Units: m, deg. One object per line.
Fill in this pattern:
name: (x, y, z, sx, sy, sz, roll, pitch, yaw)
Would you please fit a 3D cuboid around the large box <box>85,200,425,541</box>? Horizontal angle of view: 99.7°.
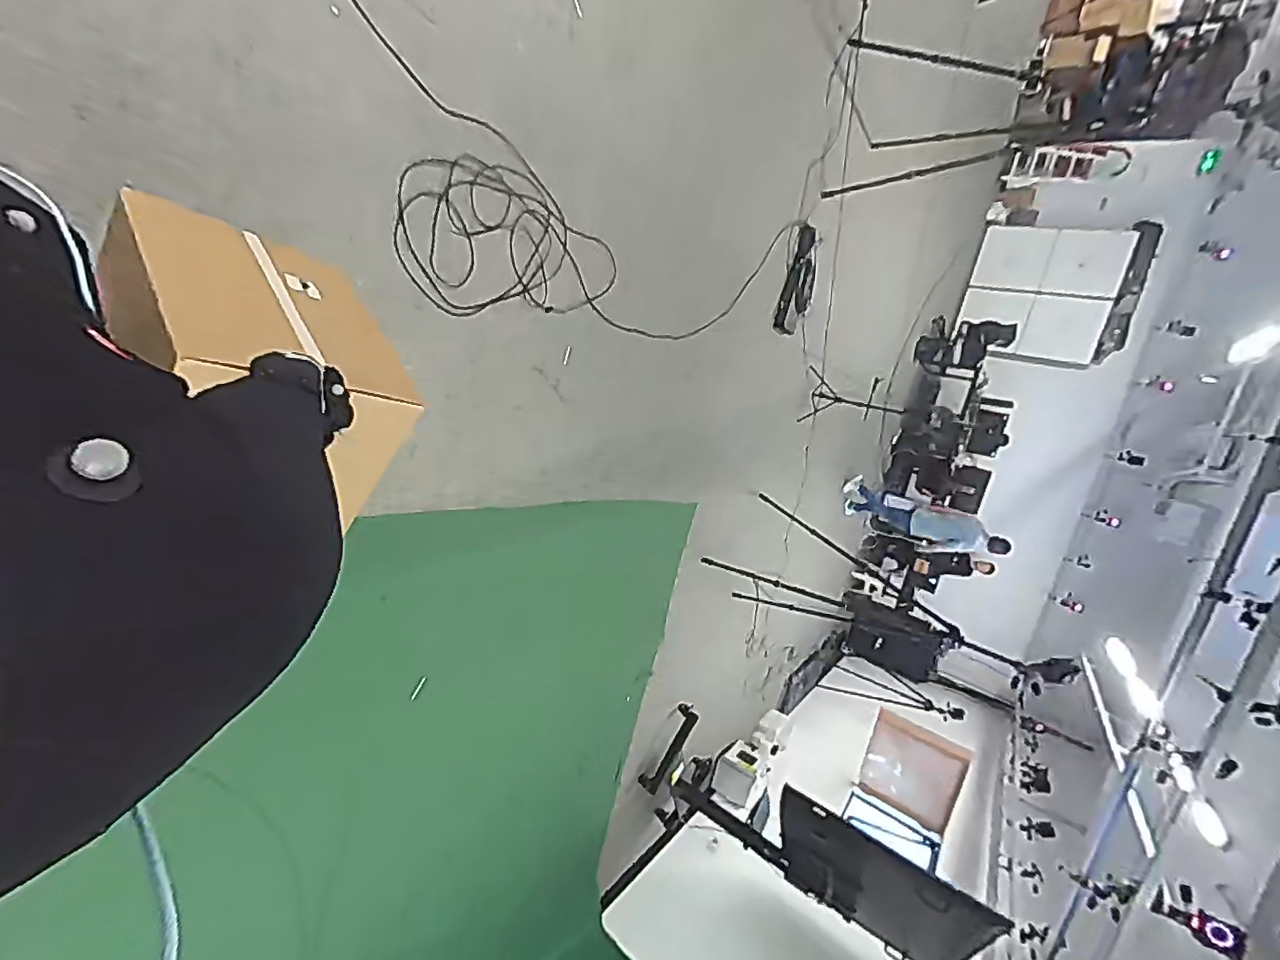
large box: (-0.628, -0.154, 0.873, 0.320, 0.408, 0.320, -50, 153, 20)
